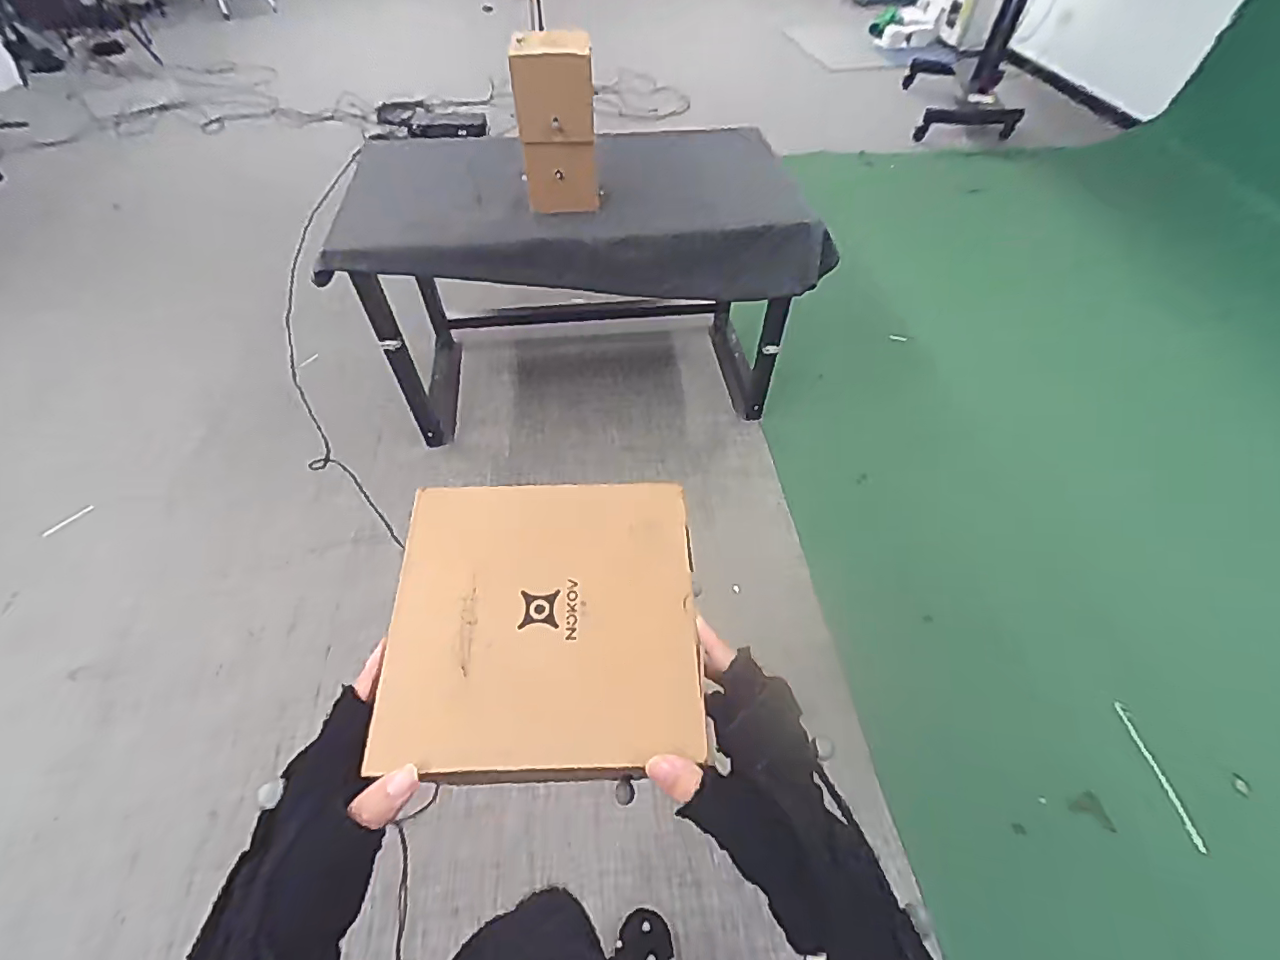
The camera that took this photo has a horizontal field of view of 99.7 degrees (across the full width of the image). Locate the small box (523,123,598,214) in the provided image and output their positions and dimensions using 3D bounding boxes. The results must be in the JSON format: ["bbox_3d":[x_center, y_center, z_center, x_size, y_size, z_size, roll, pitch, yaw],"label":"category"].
[{"bbox_3d":[-0.202,-0.795,1.370,0.179,0.176,0.168,-7,53,-7],"label":"small box"}]

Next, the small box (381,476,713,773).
[{"bbox_3d":[-0.053,0.111,0.391,0.179,0.176,0.168,-3,58,-2],"label":"small box"}]

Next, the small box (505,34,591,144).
[{"bbox_3d":[-0.202,-0.891,1.238,0.179,0.176,0.168,-3,52,-4],"label":"small box"}]
